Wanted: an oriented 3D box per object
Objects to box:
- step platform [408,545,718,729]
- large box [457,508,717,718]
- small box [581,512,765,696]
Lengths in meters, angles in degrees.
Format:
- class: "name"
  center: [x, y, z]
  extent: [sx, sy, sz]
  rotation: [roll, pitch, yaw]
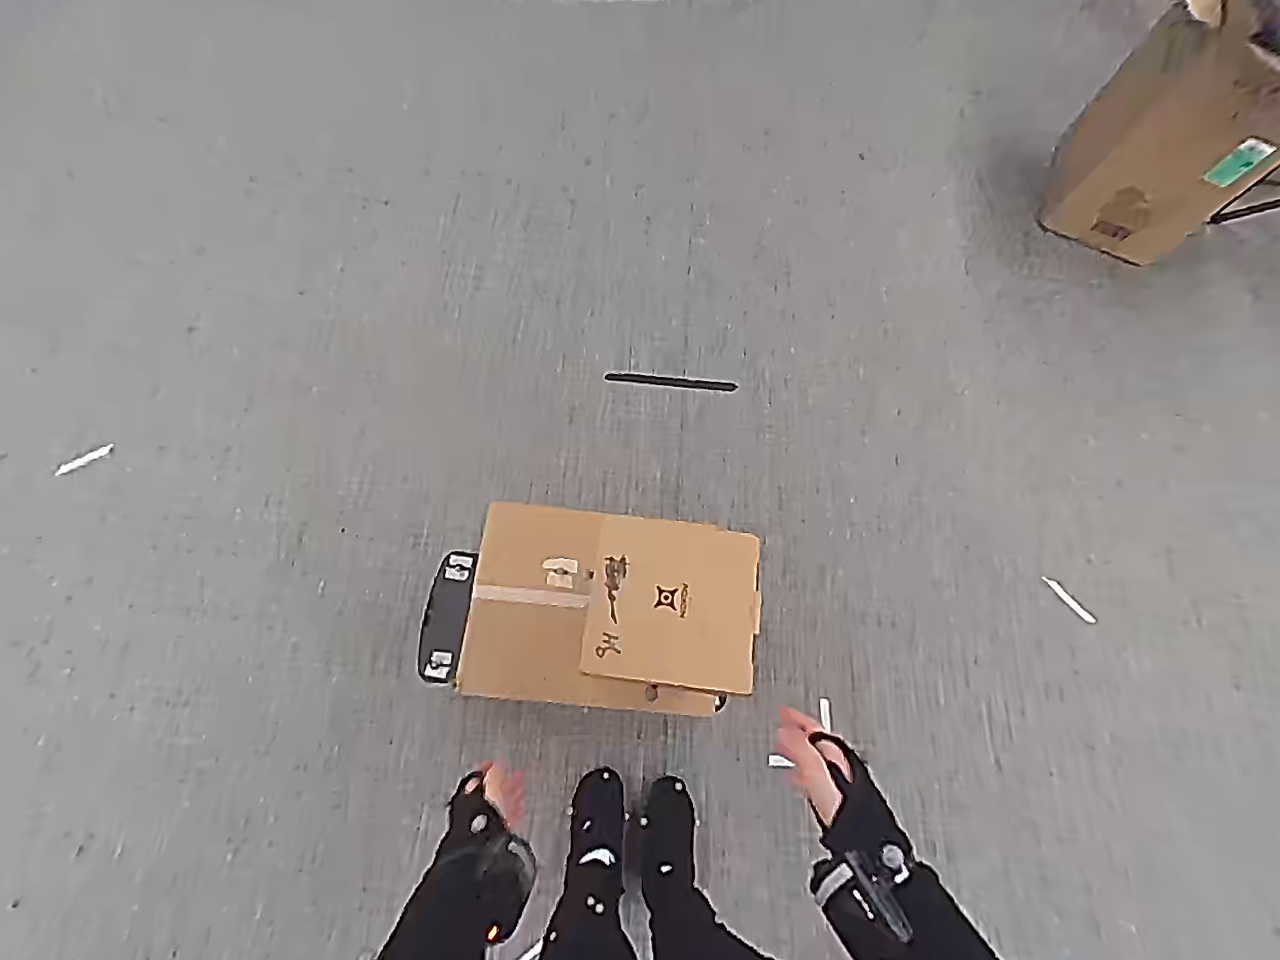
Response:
- class: "step platform"
  center: [-0.150, 0.354, 1.227]
  extent: [0.684, 0.204, 0.286]
  rotation: [11, 69, 0]
- class: "large box"
  center: [-0.077, 0.258, 1.015]
  extent: [0.408, 0.320, 0.320]
  rotation: [5, 68, -1]
- class: "small box"
  center: [0.031, 0.150, 0.626]
  extent: [0.179, 0.176, 0.168]
  rotation: [9, 68, -2]
